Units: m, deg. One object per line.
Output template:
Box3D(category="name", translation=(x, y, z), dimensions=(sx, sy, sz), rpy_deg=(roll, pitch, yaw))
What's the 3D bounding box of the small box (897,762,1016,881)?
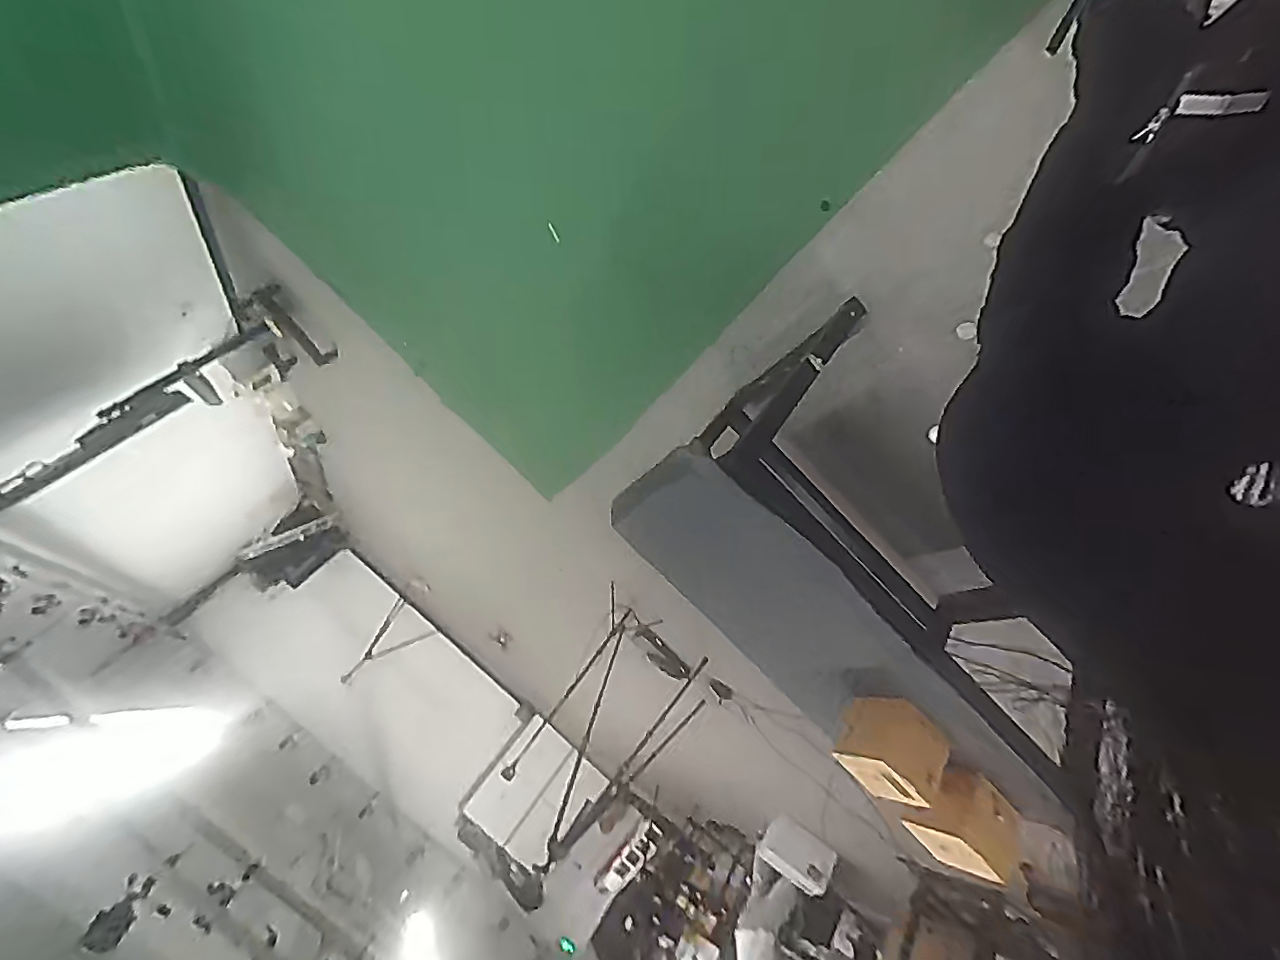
Box3D(category="small box", translation=(0.788, 0.836, 1.345), dimensions=(0.168, 0.176, 0.179), rpy_deg=(46, 149, -7))
